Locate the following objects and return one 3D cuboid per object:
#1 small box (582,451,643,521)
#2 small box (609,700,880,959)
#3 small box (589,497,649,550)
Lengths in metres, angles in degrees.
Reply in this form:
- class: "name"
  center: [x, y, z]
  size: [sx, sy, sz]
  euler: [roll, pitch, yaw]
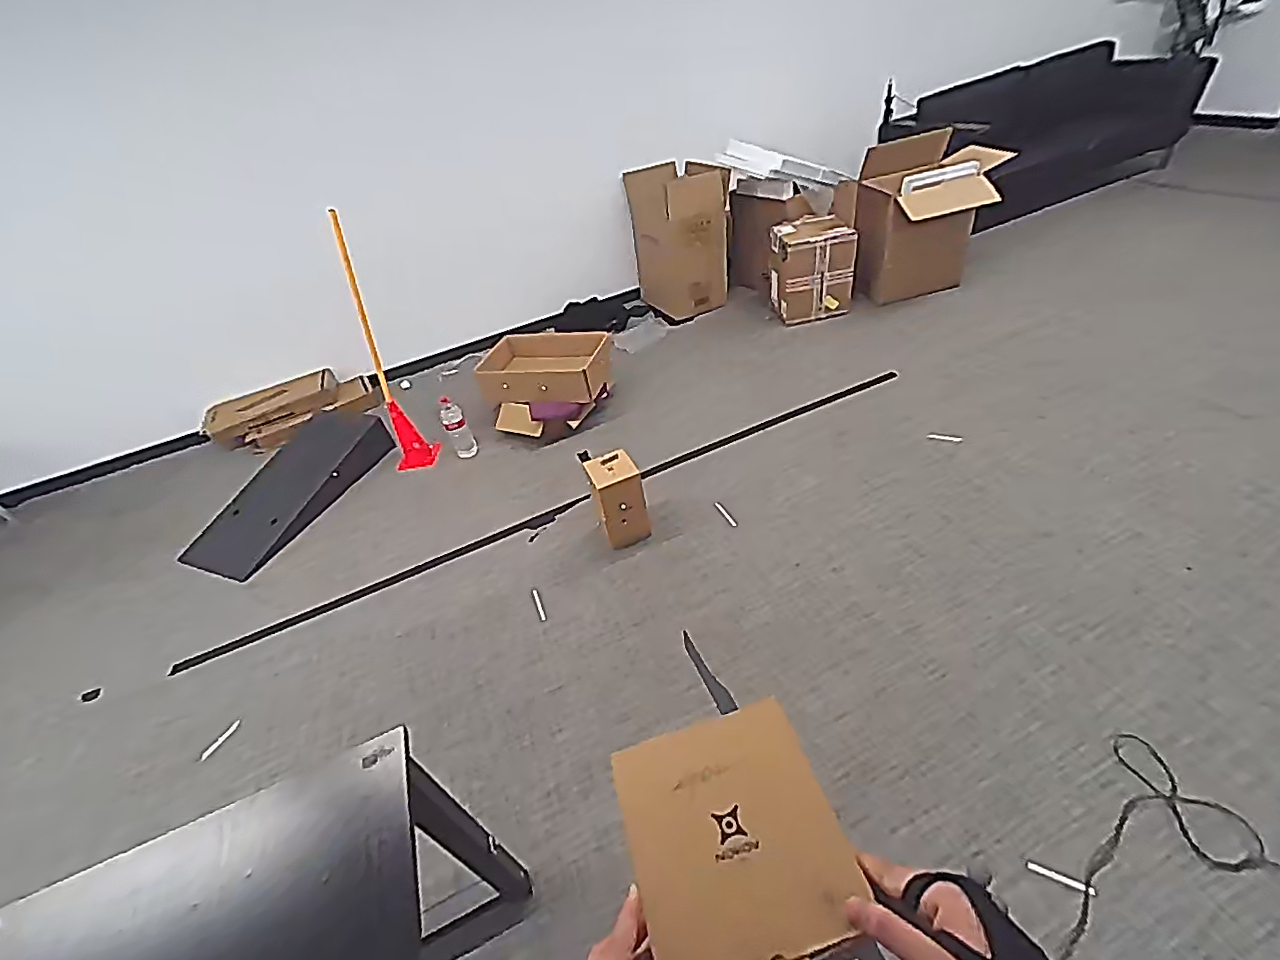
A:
- class: "small box"
  center: [-0.101, 0.024, 2.024]
  size: [0.168, 0.176, 0.179]
  euler: [-21, 41, -12]
- class: "small box"
  center: [0.083, 0.338, 0.485]
  size: [0.168, 0.176, 0.179]
  euler: [-16, 42, -7]
- class: "small box"
  center: [-0.081, 0.146, 2.132]
  size: [0.179, 0.176, 0.168]
  euler: [-21, 41, -12]
